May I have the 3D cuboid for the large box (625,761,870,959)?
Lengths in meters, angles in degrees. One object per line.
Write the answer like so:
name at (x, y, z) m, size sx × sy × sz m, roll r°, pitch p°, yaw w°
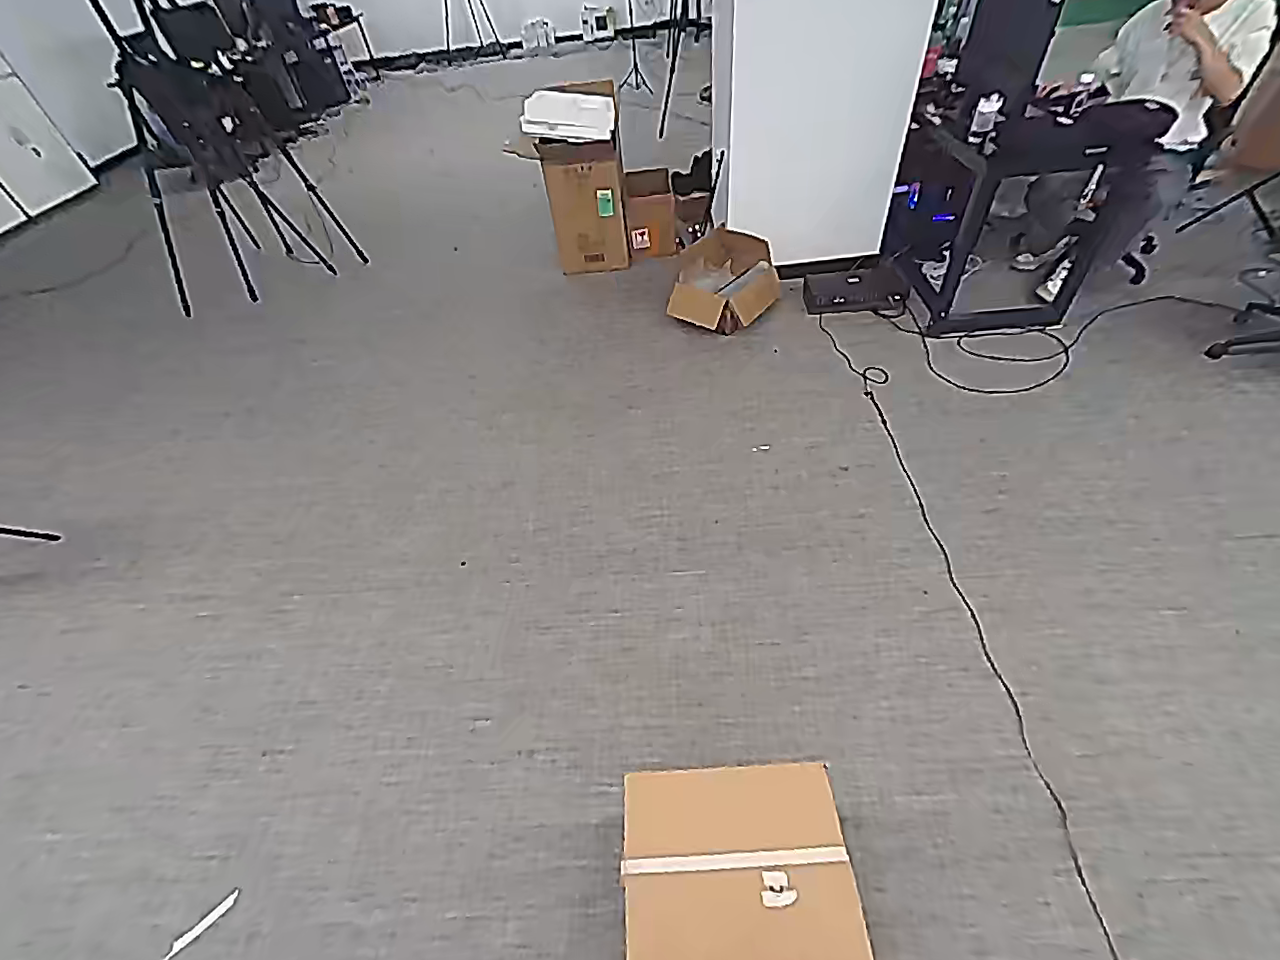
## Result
large box at (0.185, 0.799, 1.096) m, size 0.408 × 0.320 × 0.320 m, roll -5°, pitch 46°, yaw 2°
